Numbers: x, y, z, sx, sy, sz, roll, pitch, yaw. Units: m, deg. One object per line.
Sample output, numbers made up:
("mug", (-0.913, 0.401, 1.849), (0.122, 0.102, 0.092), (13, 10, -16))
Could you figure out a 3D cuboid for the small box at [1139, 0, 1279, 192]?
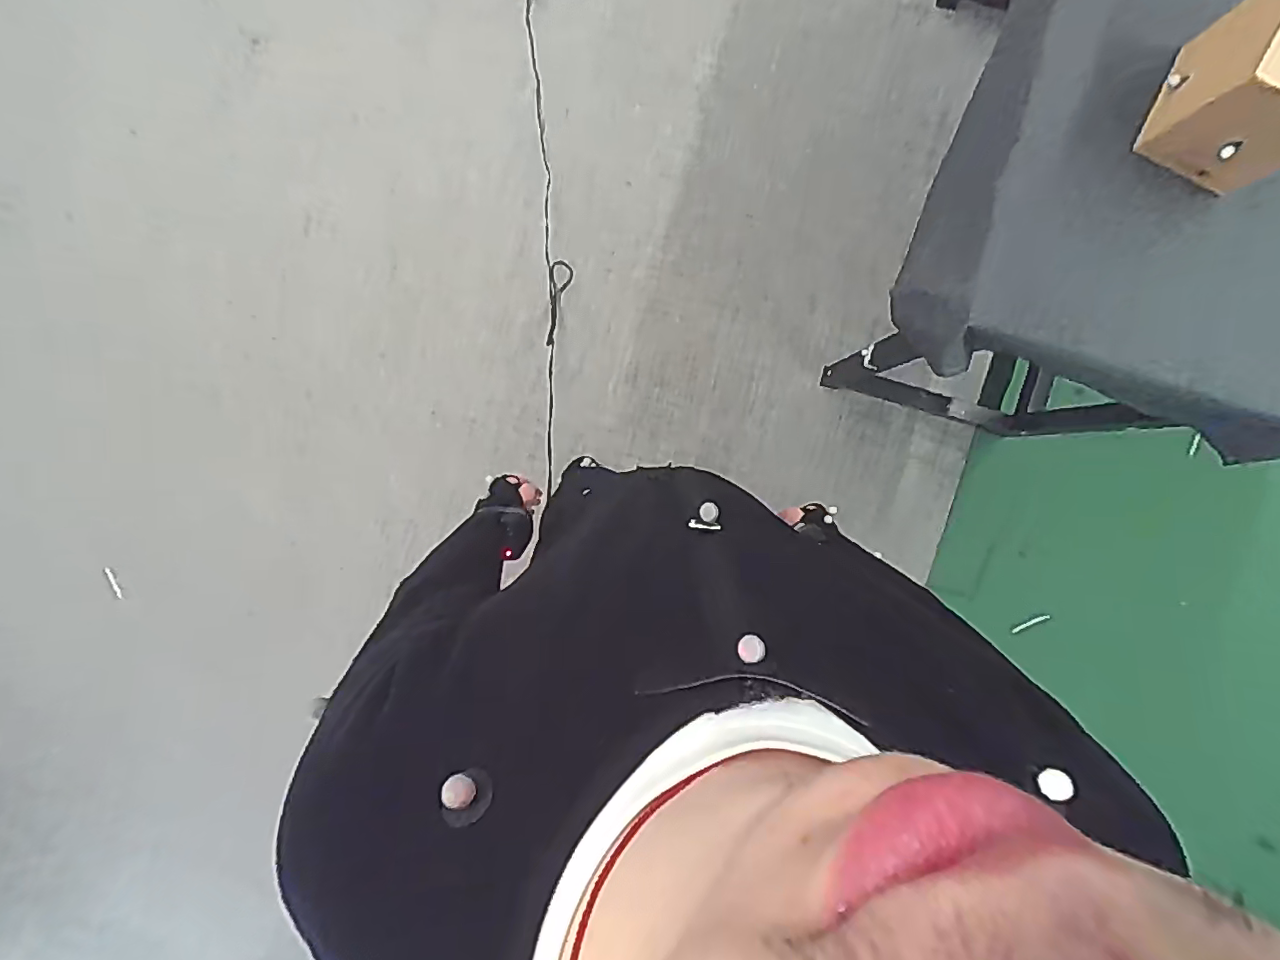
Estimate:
("small box", (0.873, -0.550, 0.763), (0.168, 0.176, 0.179), (25, 92, -2))
